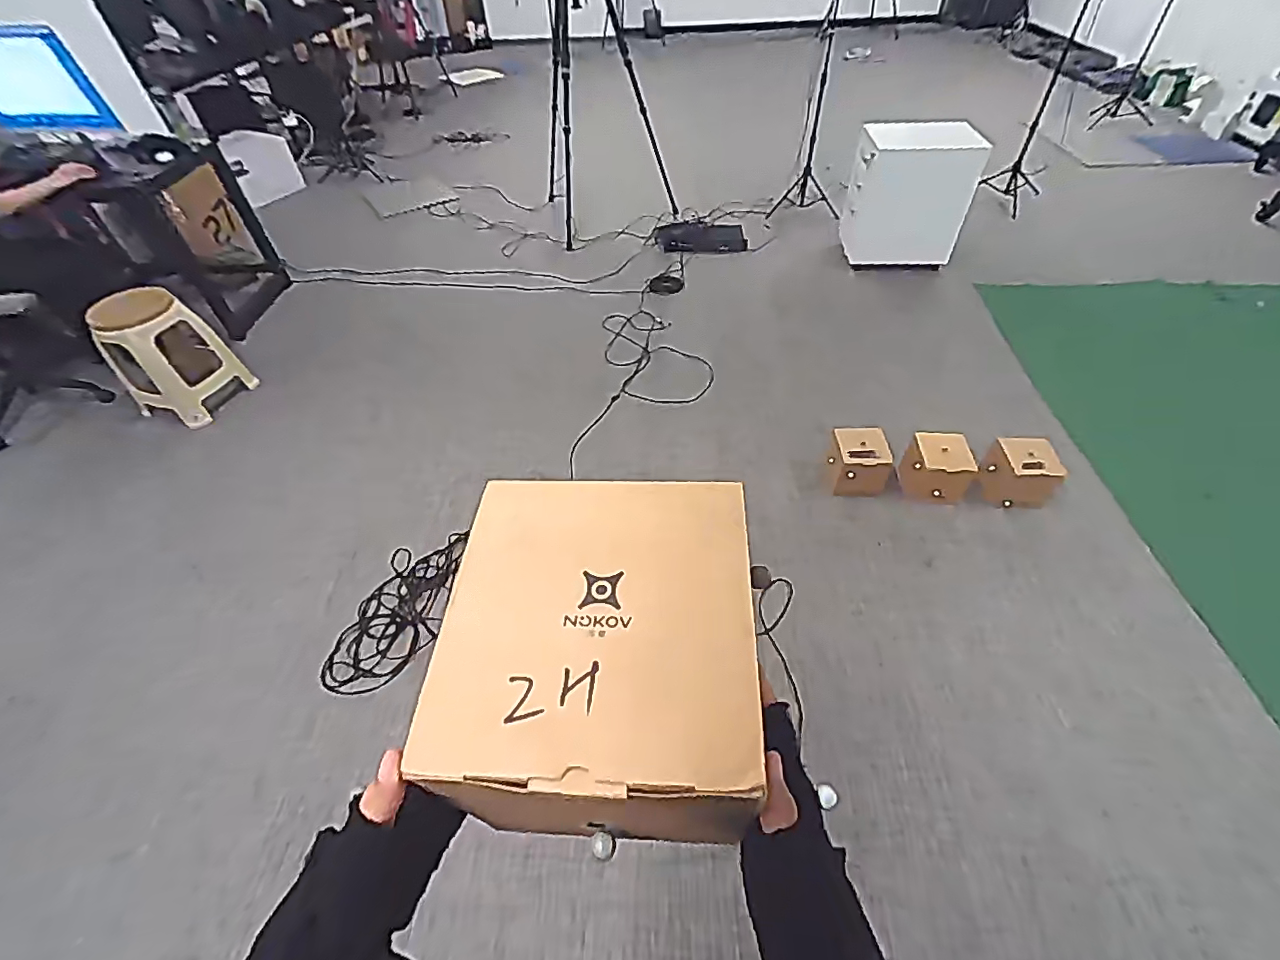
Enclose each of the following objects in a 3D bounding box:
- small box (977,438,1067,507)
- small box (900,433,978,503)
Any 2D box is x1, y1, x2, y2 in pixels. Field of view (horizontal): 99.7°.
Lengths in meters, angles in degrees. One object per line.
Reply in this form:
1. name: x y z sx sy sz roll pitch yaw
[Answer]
1. small box: 1.293 -0.024 1.844 0.168 0.176 0.179 2 48 4
2. small box: 1.026 -0.043 1.873 0.168 0.176 0.179 3 49 5
